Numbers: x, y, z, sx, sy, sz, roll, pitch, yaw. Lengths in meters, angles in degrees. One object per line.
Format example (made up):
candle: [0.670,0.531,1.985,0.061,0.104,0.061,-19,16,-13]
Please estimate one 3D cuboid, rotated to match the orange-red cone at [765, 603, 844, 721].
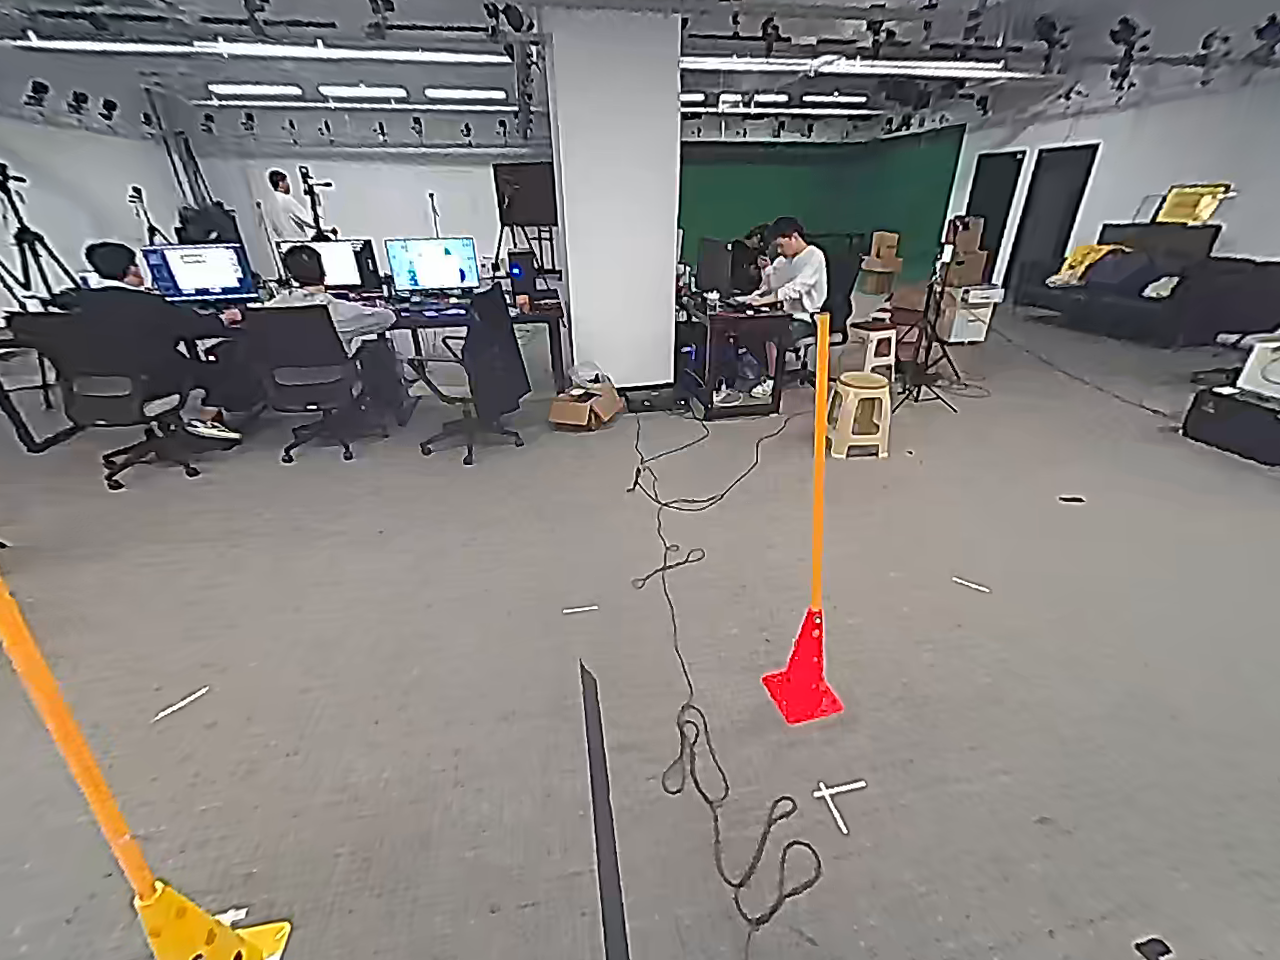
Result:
orange-red cone: [0.520,0.530,1.666,0.199,0.360,0.198,-9,27,-12]
